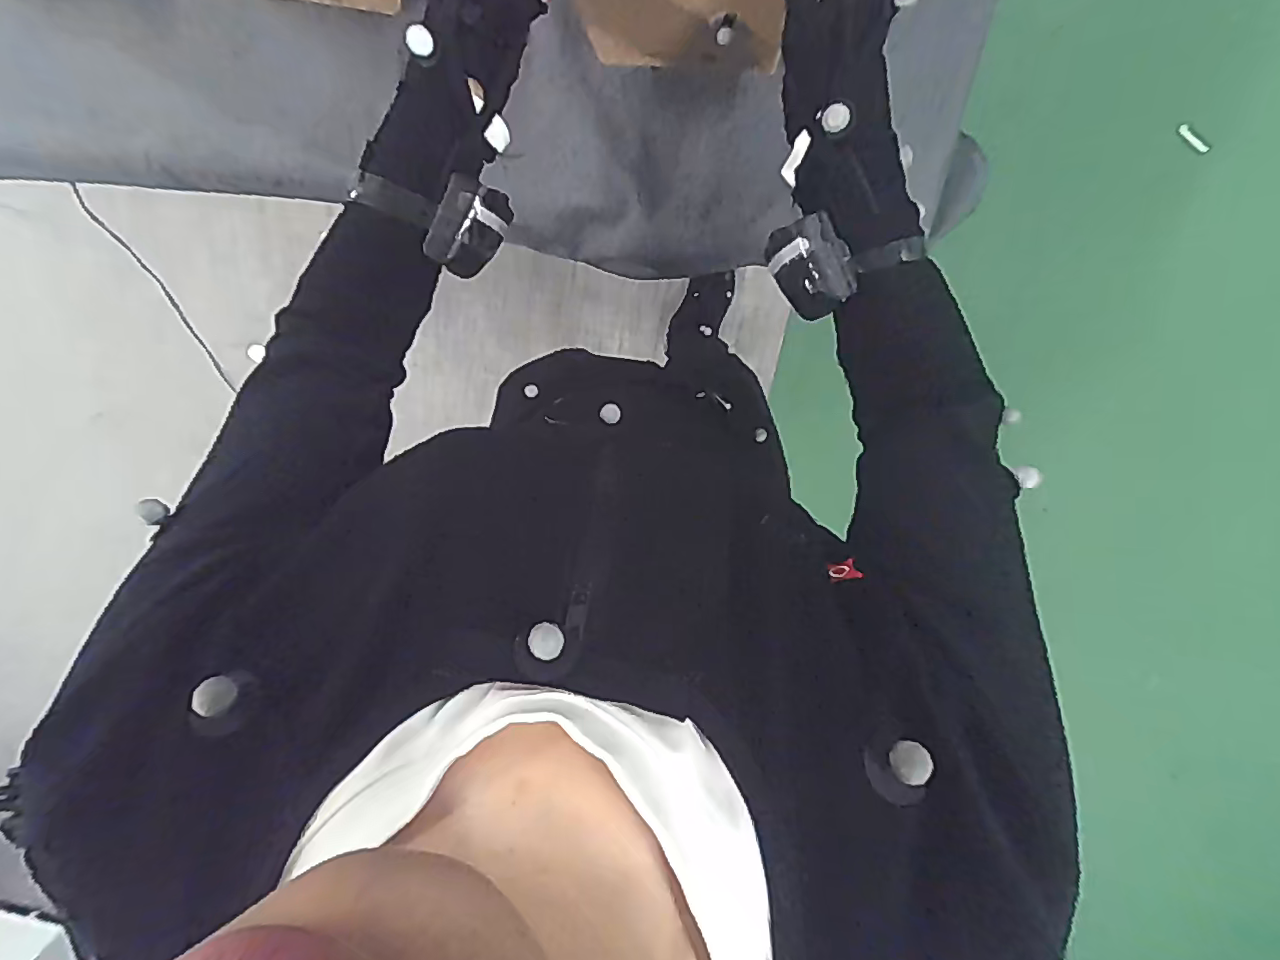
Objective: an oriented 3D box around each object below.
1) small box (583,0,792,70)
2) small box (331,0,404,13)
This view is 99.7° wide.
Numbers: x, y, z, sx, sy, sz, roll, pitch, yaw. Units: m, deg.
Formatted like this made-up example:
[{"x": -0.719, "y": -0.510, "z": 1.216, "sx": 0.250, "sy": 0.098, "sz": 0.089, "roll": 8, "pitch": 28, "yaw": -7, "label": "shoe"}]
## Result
[{"x": 0.045, "y": -0.446, "z": 0.408, "sx": 0.168, "sy": 0.176, "sz": 0.179, "roll": 7, "pitch": 106, "yaw": 5, "label": "small box"}, {"x": -0.317, "y": -0.543, "z": 0.461, "sx": 0.168, "sy": 0.176, "sz": 0.179, "roll": 11, "pitch": 114, "yaw": 3, "label": "small box"}]
